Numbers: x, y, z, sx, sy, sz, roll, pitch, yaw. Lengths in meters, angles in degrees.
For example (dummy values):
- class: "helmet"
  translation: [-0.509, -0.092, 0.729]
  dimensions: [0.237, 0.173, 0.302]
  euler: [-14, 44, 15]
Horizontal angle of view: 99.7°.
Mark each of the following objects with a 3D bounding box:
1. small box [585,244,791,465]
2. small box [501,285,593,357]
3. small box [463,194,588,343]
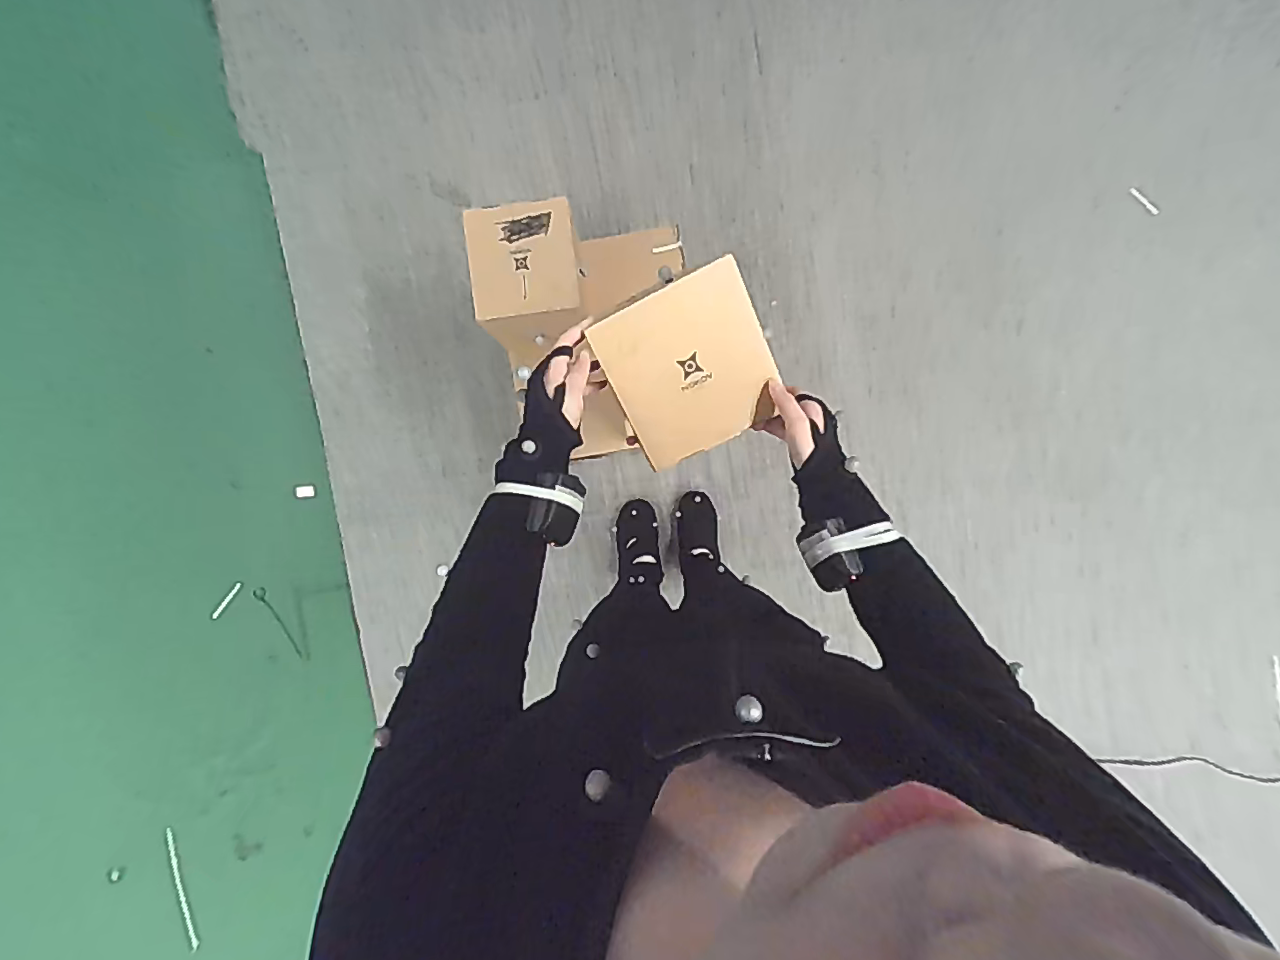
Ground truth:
- class: "small box"
  translation: [0.045, -0.149, 0.630]
  dimensions: [0.168, 0.176, 0.179]
  euler: [-27, 112, 6]
- class: "small box"
  translation: [-0.191, -0.359, 1.074]
  dimensions: [0.168, 0.176, 0.179]
  euler: [-10, 90, 1]
- class: "small box"
  translation: [-0.183, -0.345, 0.909]
  dimensions: [0.168, 0.176, 0.179]
  euler: [-8, 90, 1]
